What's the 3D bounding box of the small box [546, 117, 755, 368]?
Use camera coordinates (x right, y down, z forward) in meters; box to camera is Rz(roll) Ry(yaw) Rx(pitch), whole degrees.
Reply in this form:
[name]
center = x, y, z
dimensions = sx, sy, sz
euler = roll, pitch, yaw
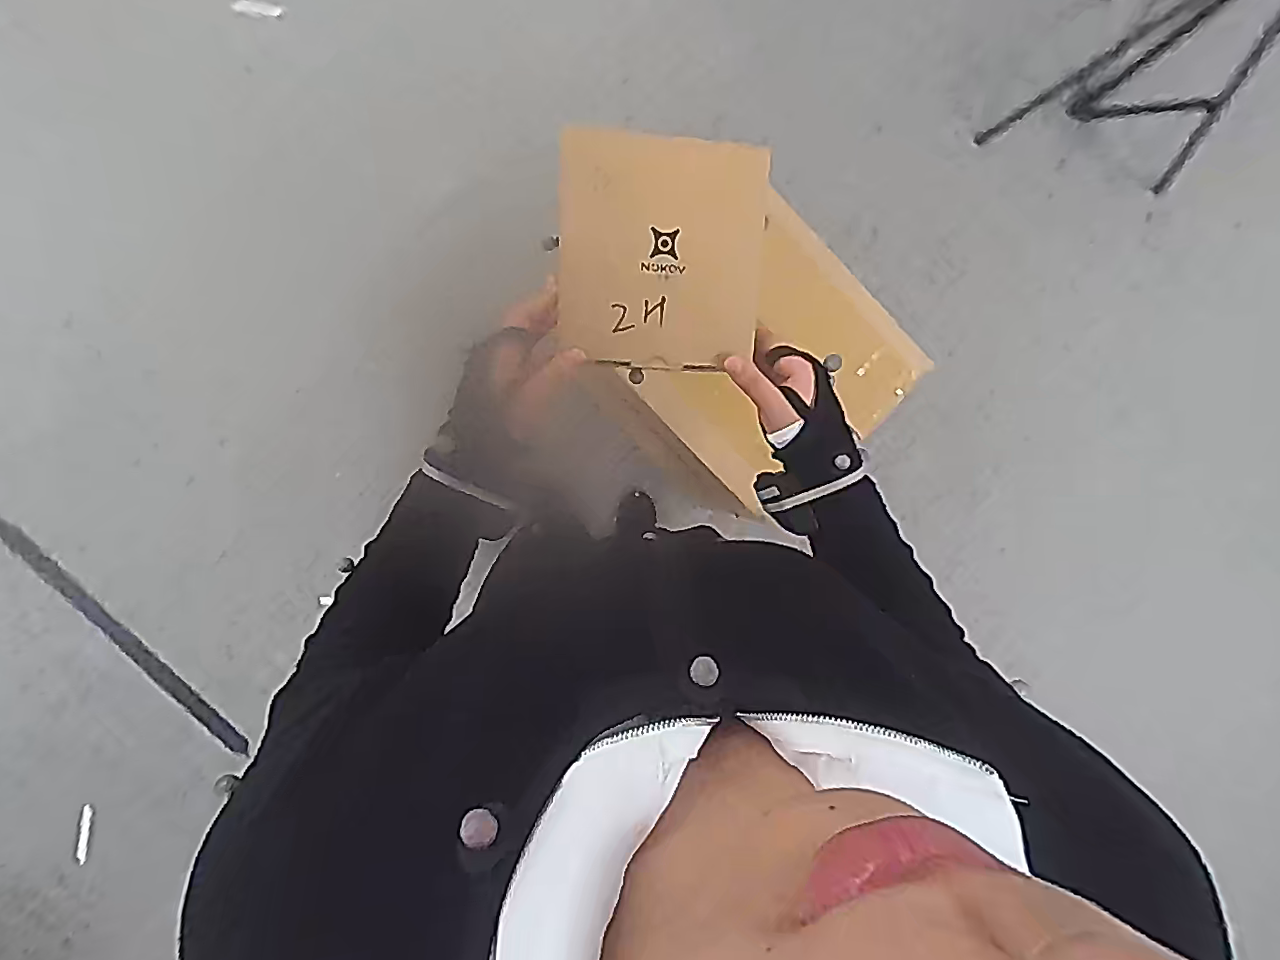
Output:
[small box]
center = -0.003, -0.199, 0.508
dimensions = 0.168, 0.176, 0.179
euler = 0, 101, -9
